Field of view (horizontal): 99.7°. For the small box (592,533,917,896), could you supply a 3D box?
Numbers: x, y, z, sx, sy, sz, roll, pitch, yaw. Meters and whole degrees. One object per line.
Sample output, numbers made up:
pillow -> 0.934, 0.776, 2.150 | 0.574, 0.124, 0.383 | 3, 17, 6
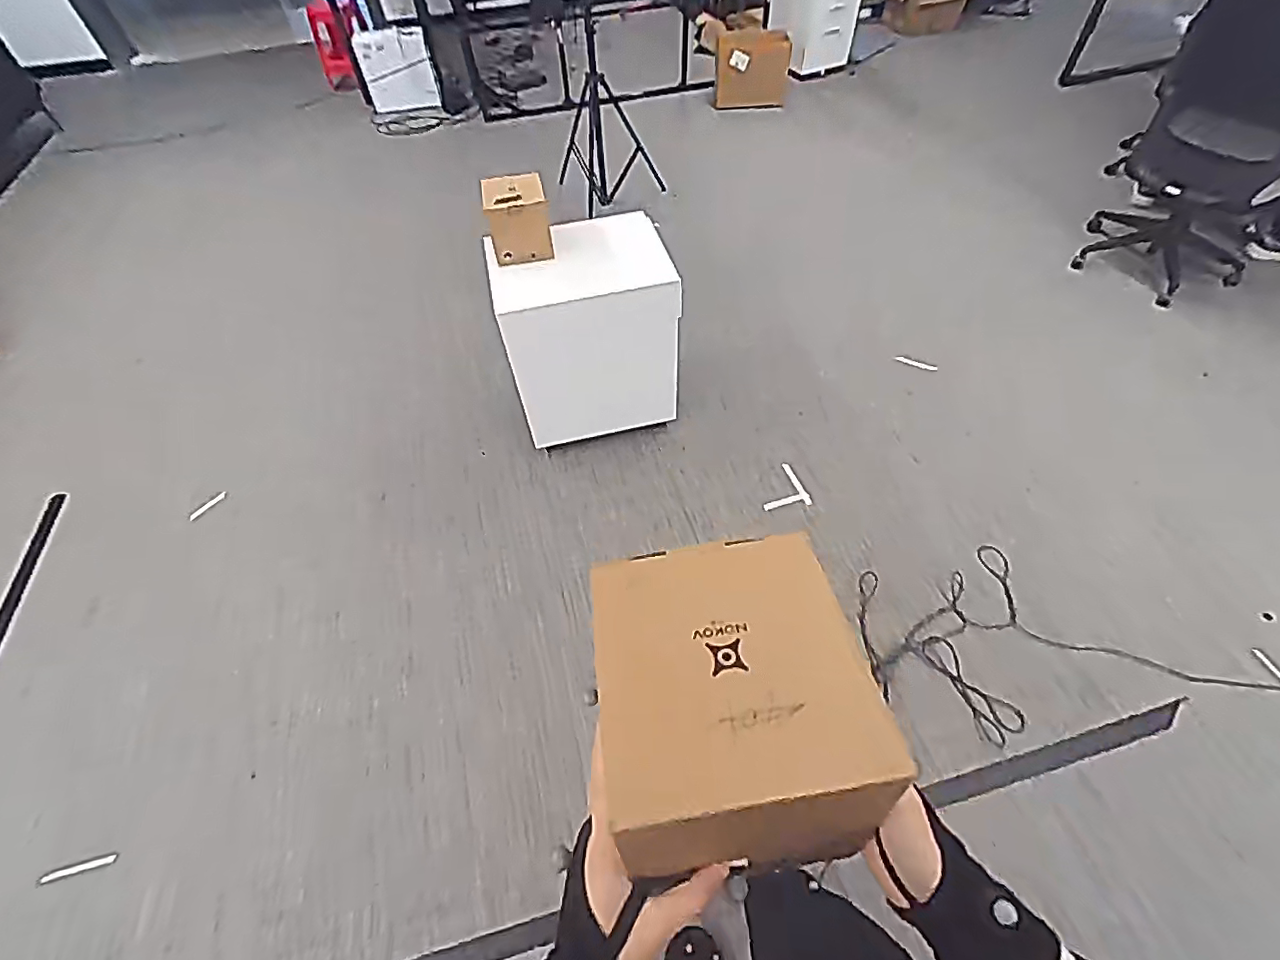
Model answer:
small box -> 0.061, 0.168, 0.396 | 0.168, 0.176, 0.179 | -10, 43, -3

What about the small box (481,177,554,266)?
small box -> -0.348, -0.732, 1.546 | 0.168, 0.176, 0.179 | -11, 53, -6
